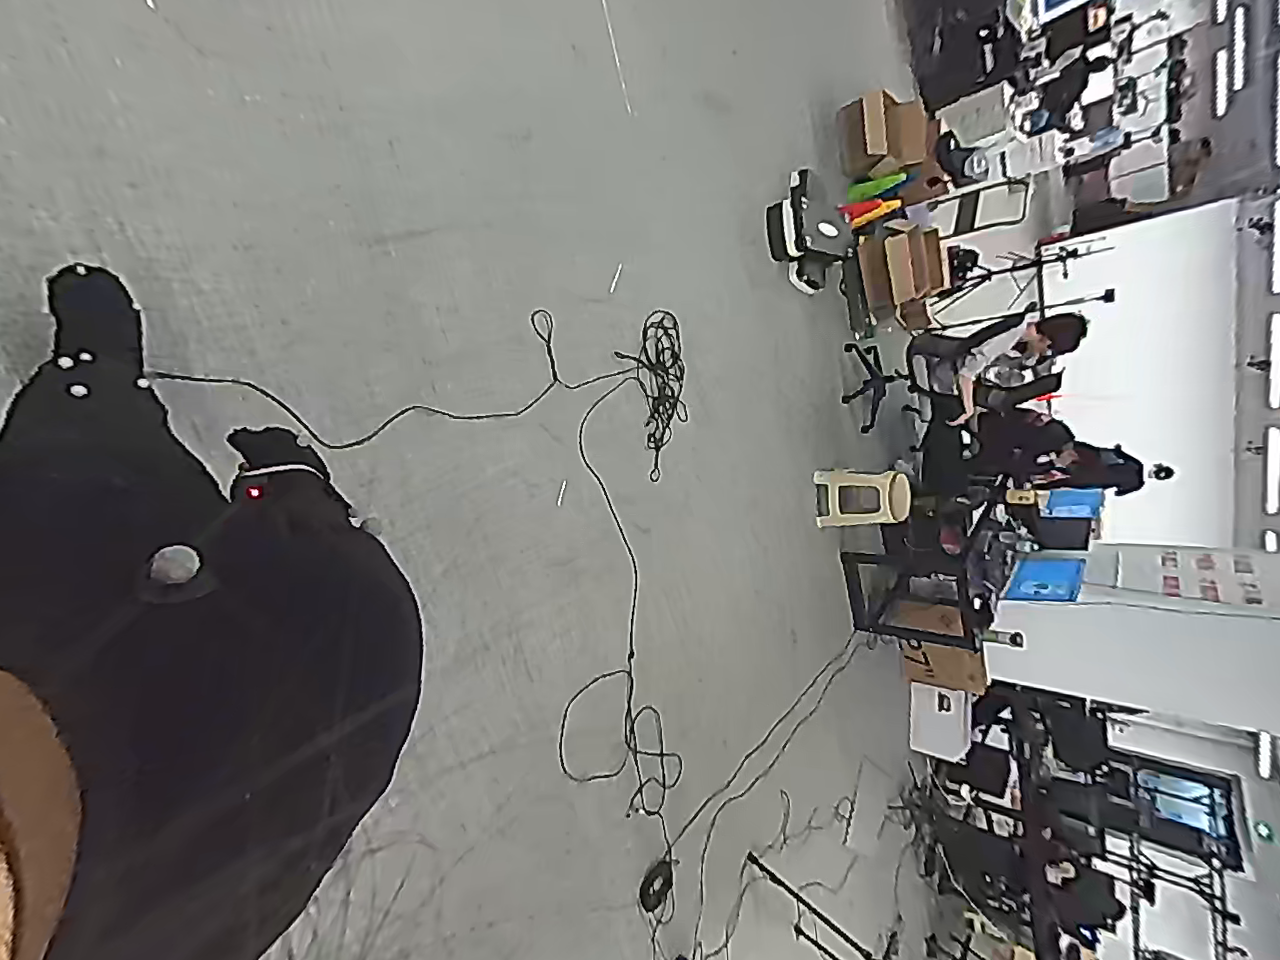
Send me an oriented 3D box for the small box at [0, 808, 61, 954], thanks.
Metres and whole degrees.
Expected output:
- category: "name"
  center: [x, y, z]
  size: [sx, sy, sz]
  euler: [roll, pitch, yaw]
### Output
- category: "small box"
  center: [-1.111, 0.684, 0.895]
  size: [0.168, 0.176, 0.179]
  euler: [-26, 107, -43]
